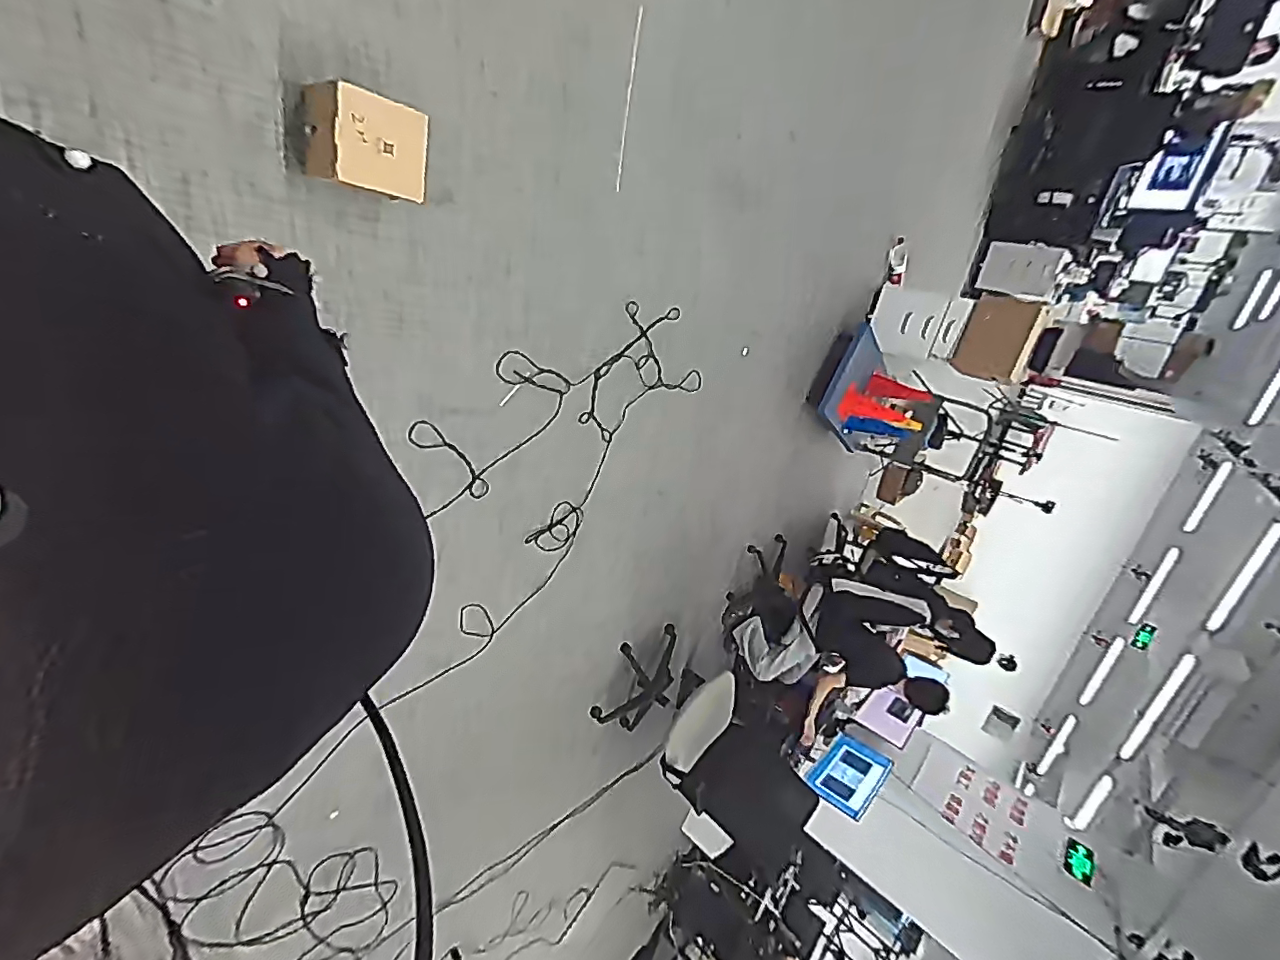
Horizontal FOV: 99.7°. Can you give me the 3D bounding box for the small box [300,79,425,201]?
[{"bbox_3d":[-0.565,-0.685,1.101,0.179,0.176,0.168,-11,119,-48],"label":"small box"}]
